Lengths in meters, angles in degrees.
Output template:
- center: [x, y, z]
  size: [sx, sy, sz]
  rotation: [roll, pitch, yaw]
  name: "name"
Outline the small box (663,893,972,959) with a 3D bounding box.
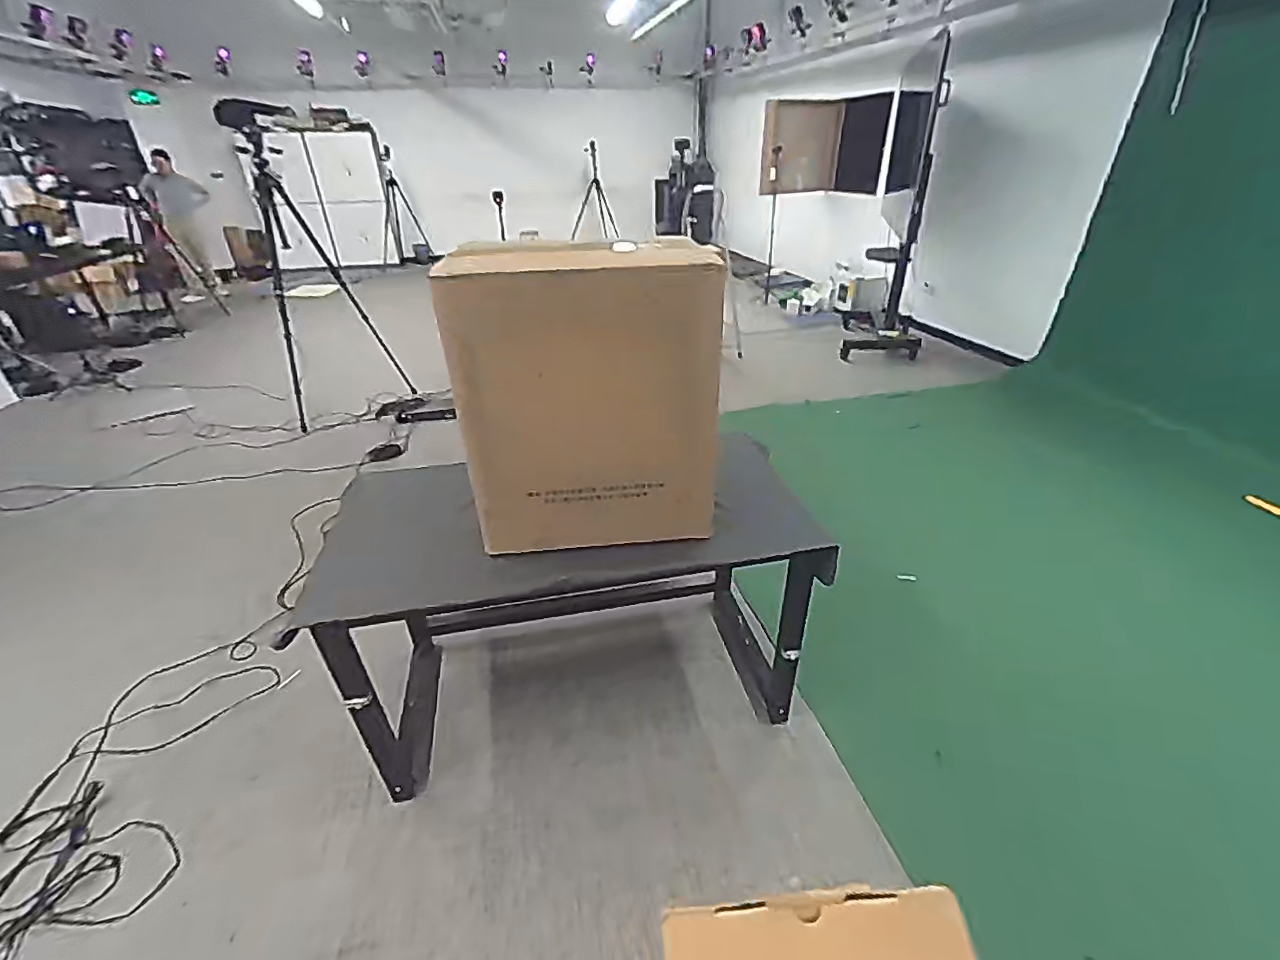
- center: [0.106, 0.357, 0.318]
  size: [0.168, 0.176, 0.179]
  rotation: [-6, 51, 1]
  name: "small box"
